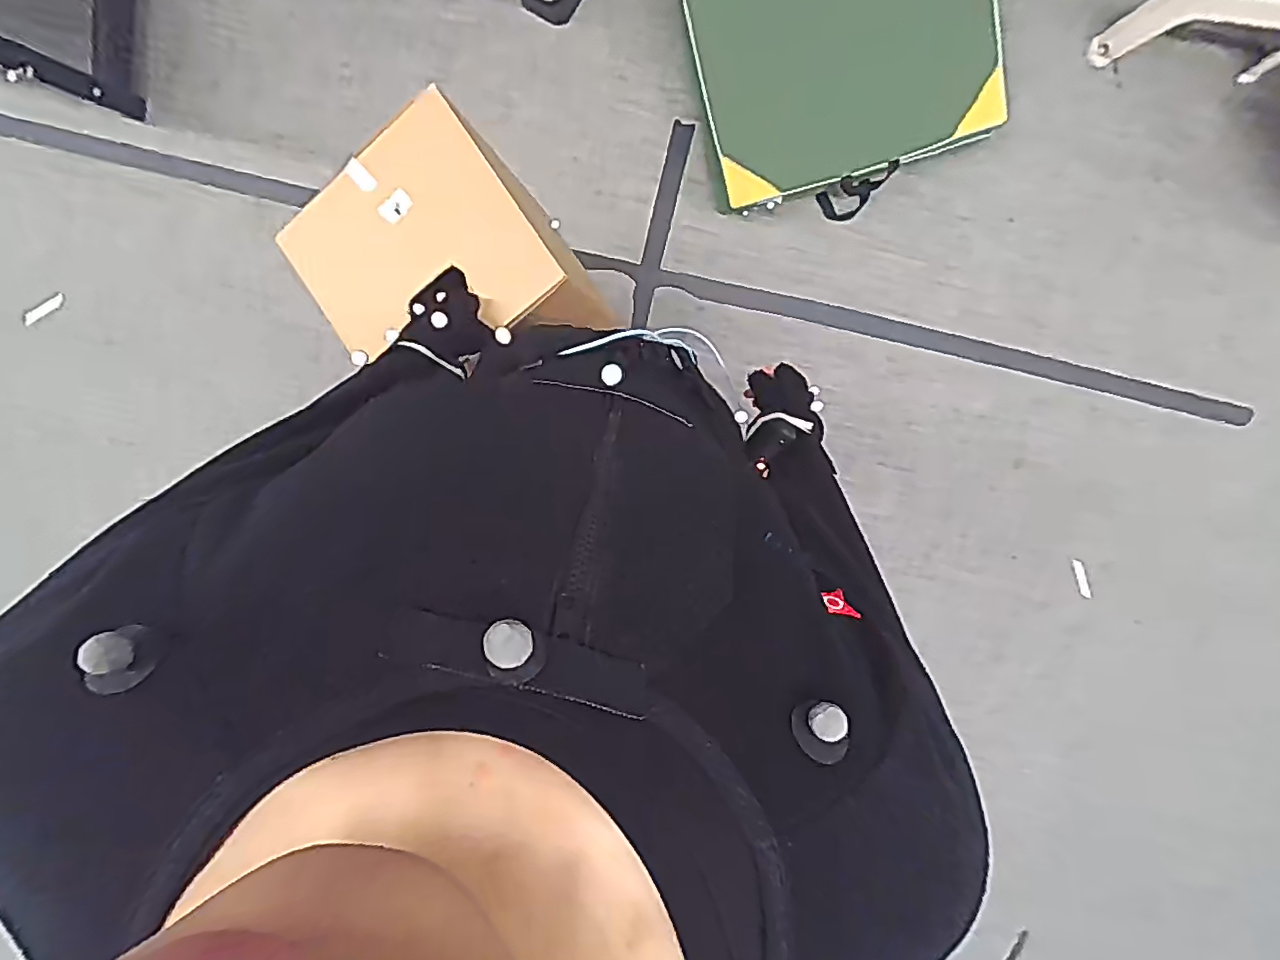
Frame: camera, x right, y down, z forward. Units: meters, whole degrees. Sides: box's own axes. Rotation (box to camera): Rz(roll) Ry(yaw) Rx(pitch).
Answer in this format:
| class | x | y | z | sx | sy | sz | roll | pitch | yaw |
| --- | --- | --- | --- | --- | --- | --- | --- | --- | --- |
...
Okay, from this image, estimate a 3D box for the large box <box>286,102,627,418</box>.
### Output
| class | x | y | z | sx | sy | sz | roll | pitch | yaw |
| --- | --- | --- | --- | --- | --- | --- | --- | --- | --- |
| large box | -0.271 | -0.318 | 0.924 | 0.320 | 0.408 | 0.320 | -34 | 88 | 13 |
